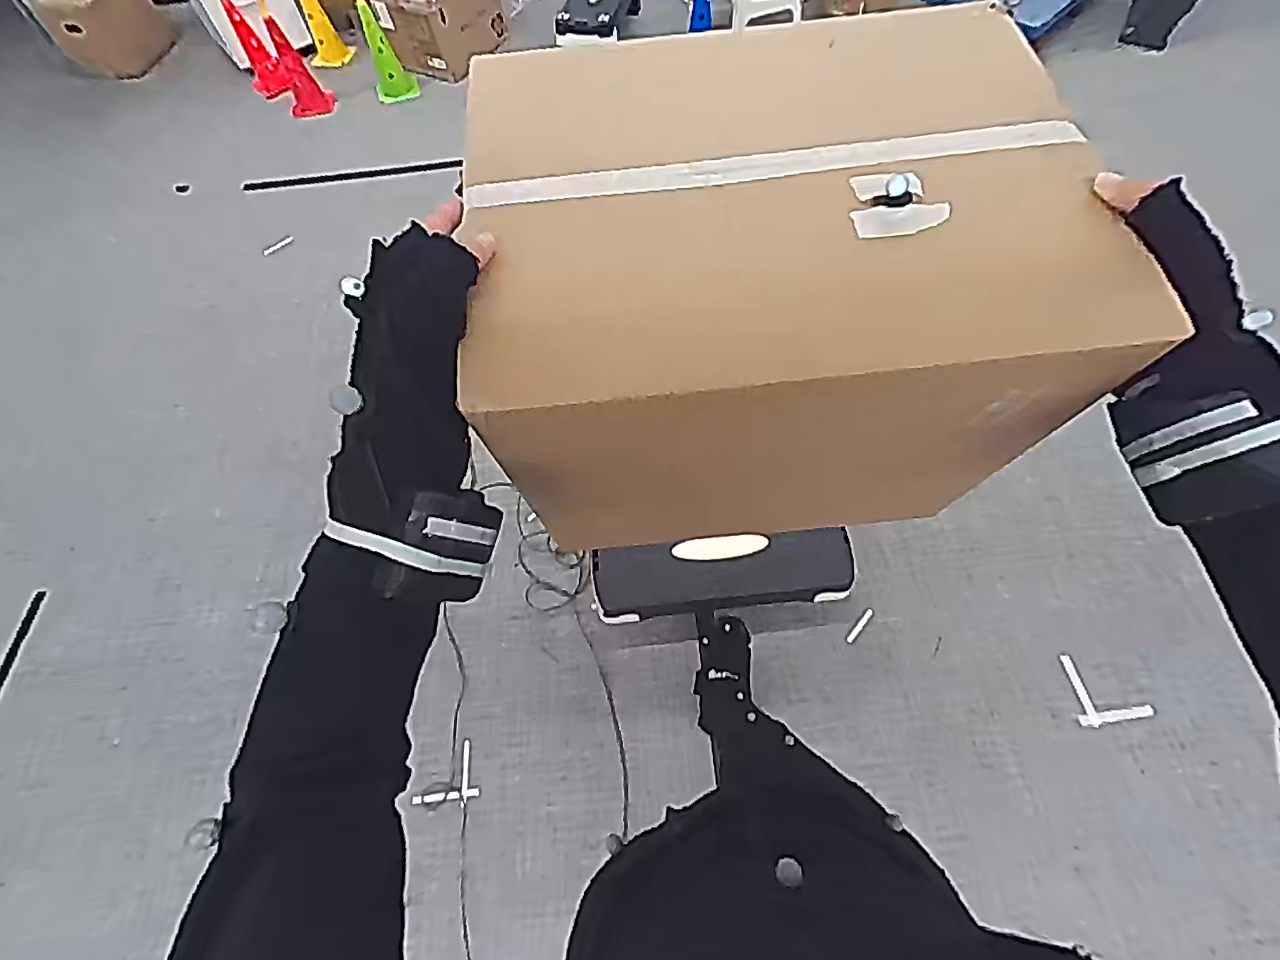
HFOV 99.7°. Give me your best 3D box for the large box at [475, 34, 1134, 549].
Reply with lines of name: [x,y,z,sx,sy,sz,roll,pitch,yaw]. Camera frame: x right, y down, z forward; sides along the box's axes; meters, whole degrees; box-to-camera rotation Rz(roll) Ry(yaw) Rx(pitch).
large box: [0.088,-0.141,0.514,0.408,0.320,0.320,-6,68,0]
